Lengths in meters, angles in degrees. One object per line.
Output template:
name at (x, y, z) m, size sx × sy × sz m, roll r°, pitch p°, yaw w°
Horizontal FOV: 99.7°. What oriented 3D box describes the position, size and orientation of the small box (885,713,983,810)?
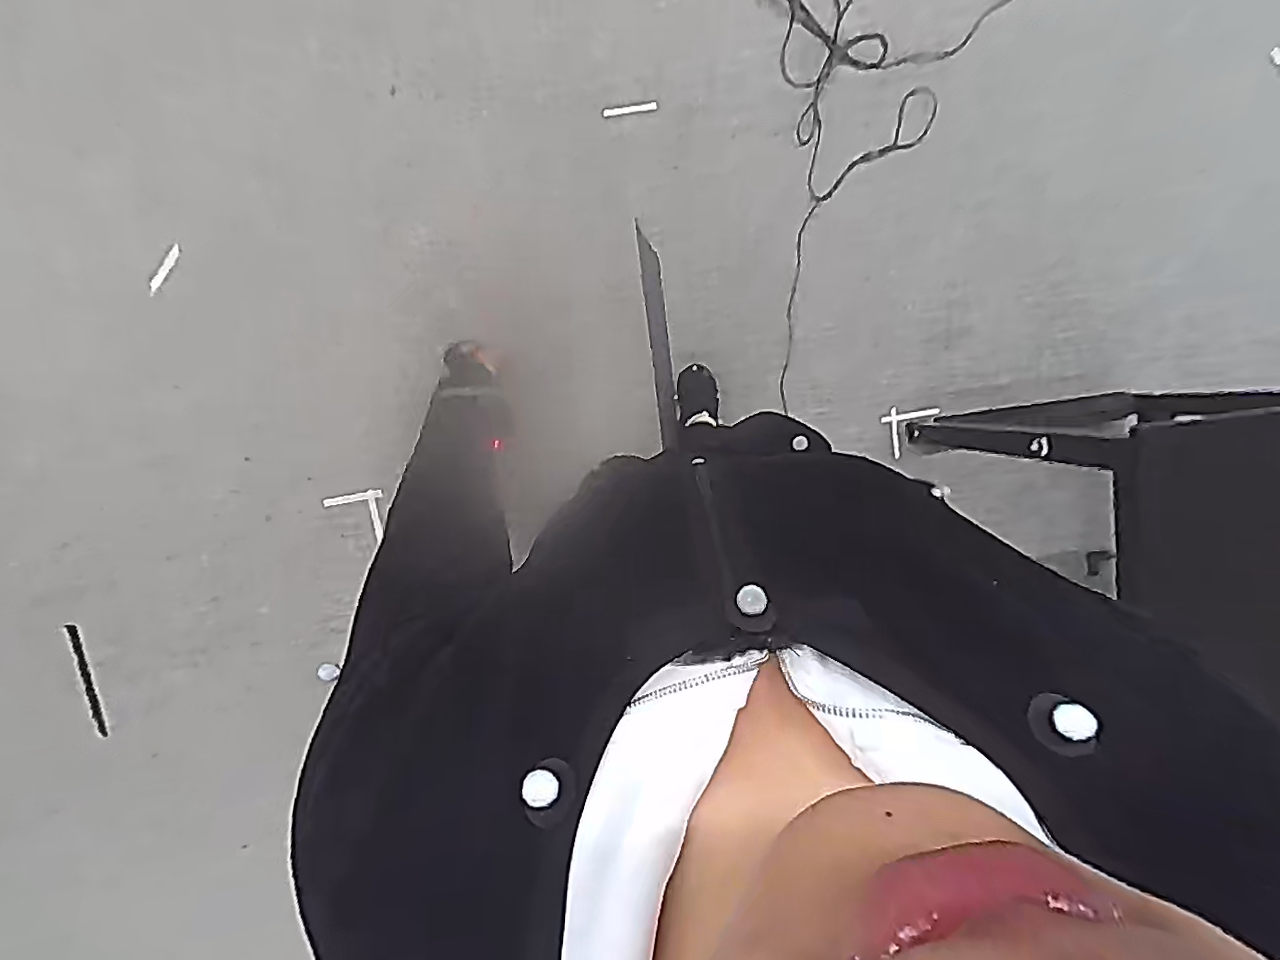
small box at (0.799, 0.762, 1.481) m, size 0.179 × 0.176 × 0.168 m, roll -8°, pitch 96°, yaw 3°
